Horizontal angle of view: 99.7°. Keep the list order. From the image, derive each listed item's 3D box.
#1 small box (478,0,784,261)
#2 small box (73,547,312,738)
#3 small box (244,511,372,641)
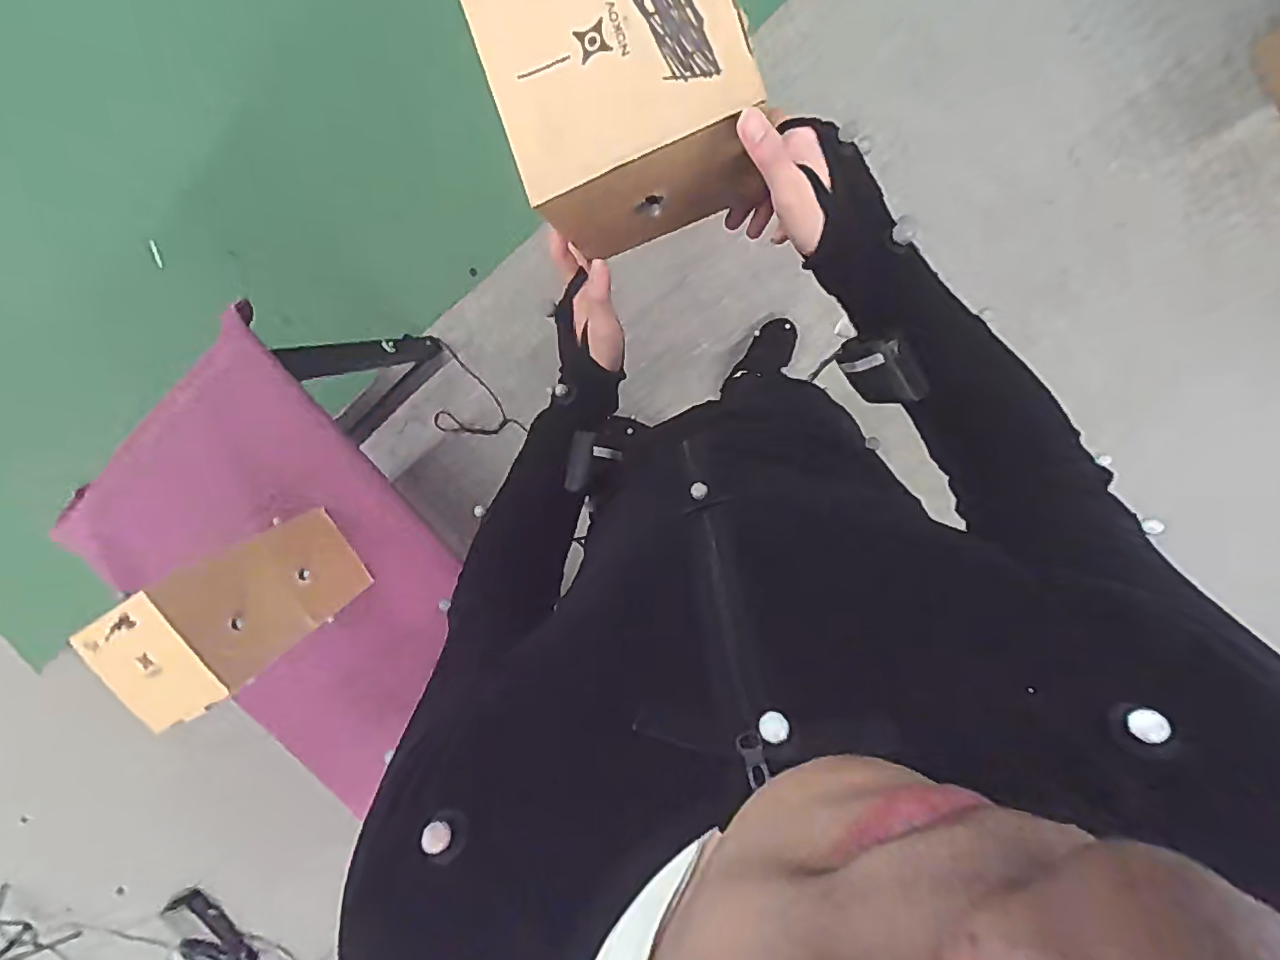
[{"bbox_3d":[0.004,-0.304,0.440,0.179,0.176,0.168,-17,95,13],"label":"small box"},{"bbox_3d":[-0.636,0.230,0.795,0.168,0.176,0.179,-29,103,14],"label":"small box"},{"bbox_3d":[-0.617,0.182,0.950,0.168,0.176,0.179,-25,102,14],"label":"small box"}]
